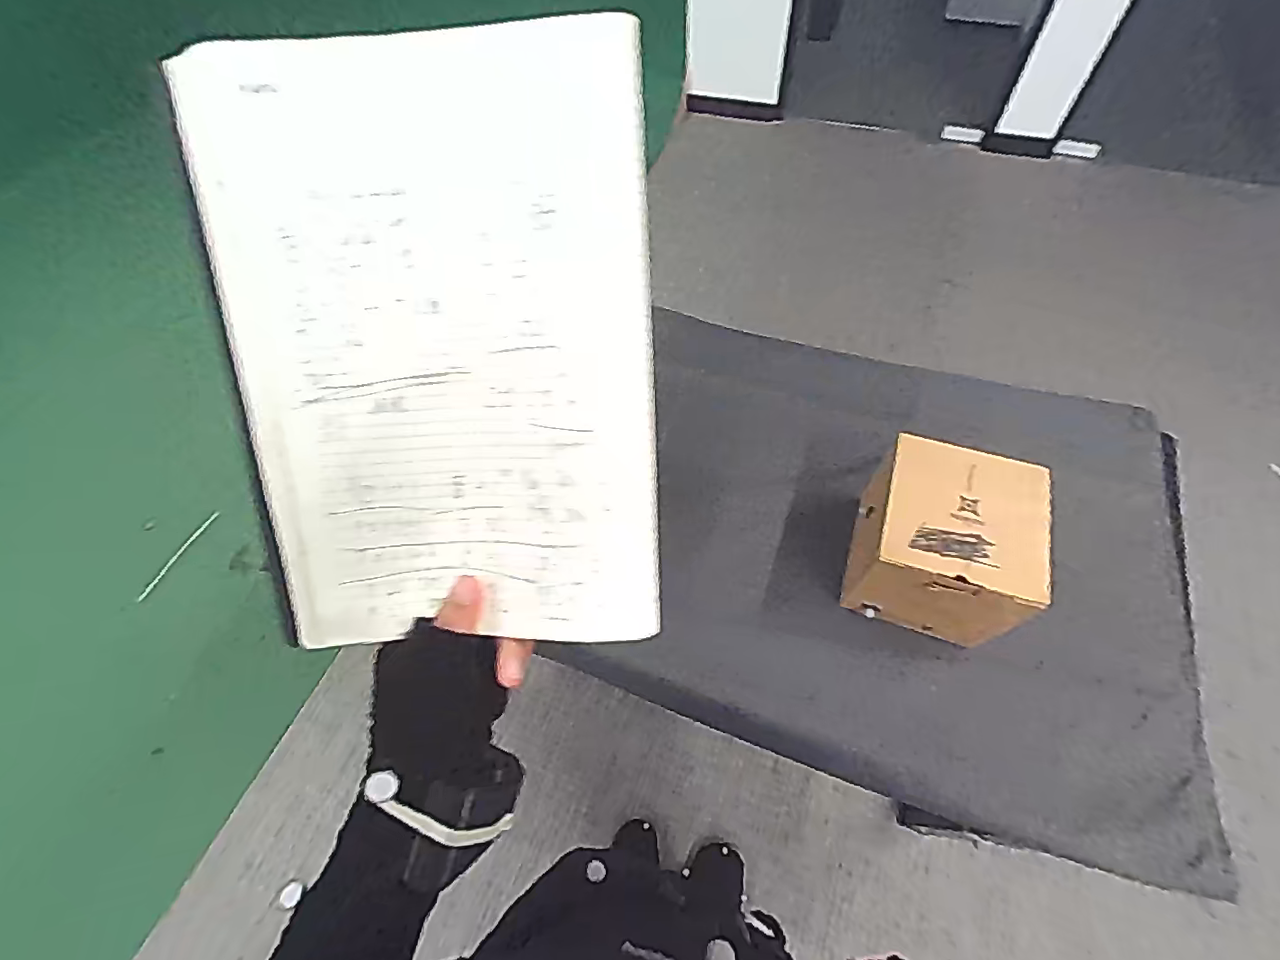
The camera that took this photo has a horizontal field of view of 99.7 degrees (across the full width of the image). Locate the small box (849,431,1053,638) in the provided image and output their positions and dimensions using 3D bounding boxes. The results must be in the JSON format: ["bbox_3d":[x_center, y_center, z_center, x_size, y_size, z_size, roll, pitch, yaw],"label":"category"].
[{"bbox_3d":[0.370,0.073,0.665,0.168,0.176,0.179,17,61,13],"label":"small box"}]
